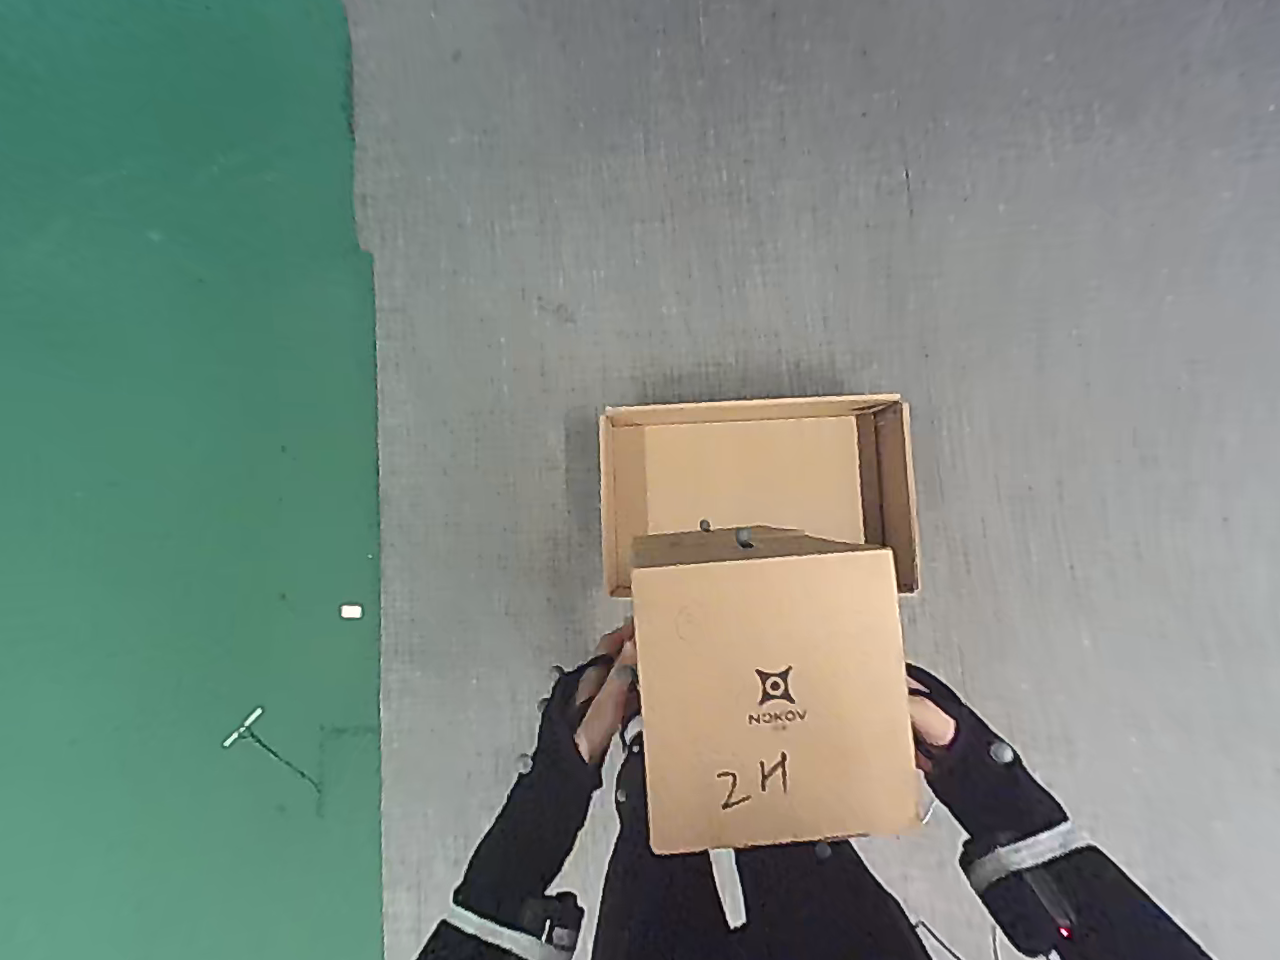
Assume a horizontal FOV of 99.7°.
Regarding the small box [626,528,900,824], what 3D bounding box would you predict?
[{"bbox_3d":[0.076,0.128,0.422,0.168,0.176,0.179,-4,87,1],"label":"small box"}]
